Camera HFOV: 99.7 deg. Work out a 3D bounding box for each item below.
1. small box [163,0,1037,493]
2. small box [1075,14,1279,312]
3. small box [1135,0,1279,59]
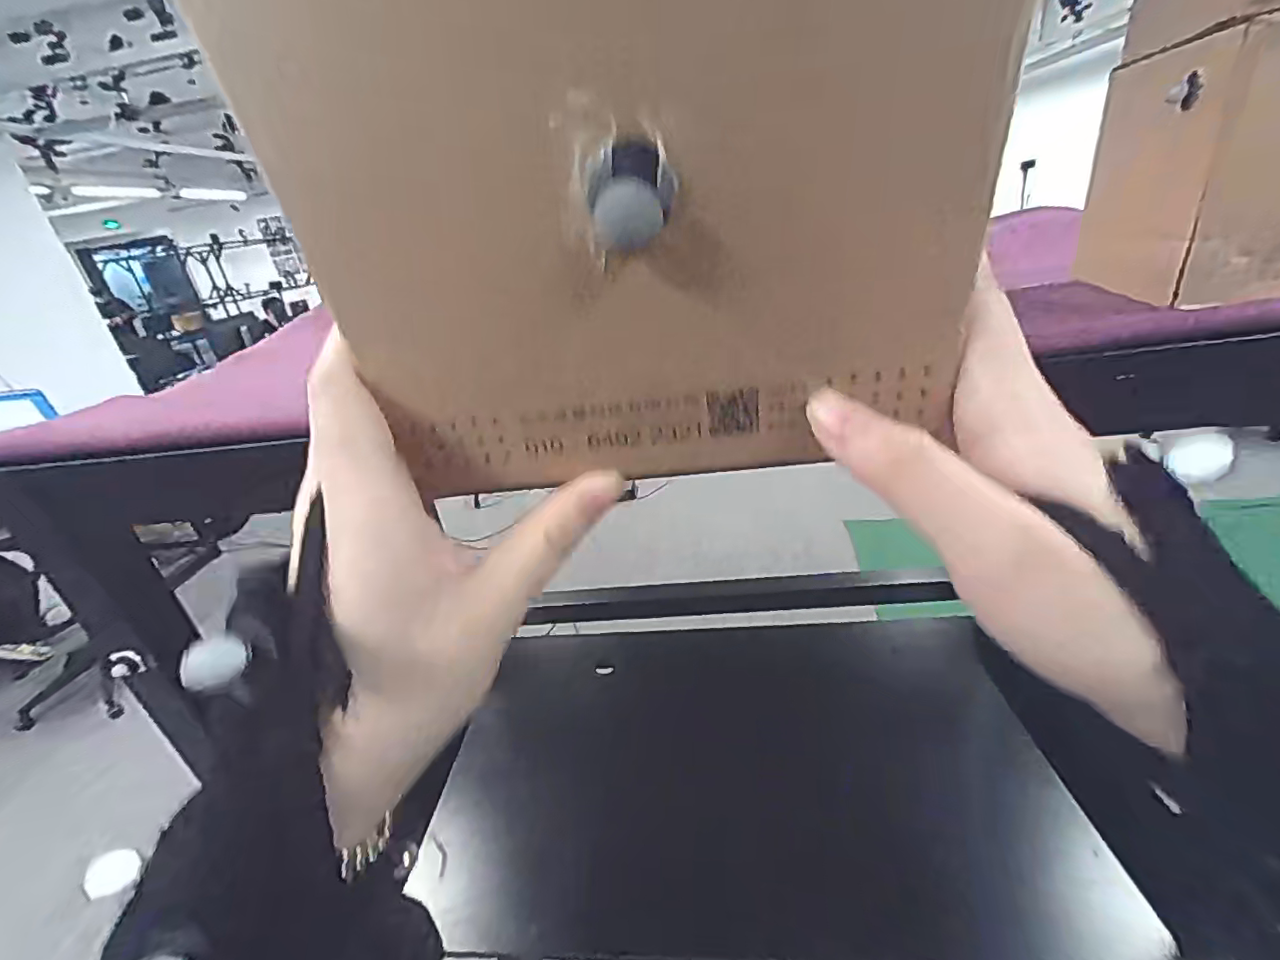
[{"bbox_3d":[0.004,-0.107,0.186,0.168,0.176,0.179,-5,38,6],"label":"small box"},{"bbox_3d":[0.455,-0.223,0.387,0.168,0.176,0.179,0,29,16],"label":"small box"},{"bbox_3d":[0.433,-0.362,0.308,0.168,0.176,0.179,1,30,21],"label":"small box"}]
